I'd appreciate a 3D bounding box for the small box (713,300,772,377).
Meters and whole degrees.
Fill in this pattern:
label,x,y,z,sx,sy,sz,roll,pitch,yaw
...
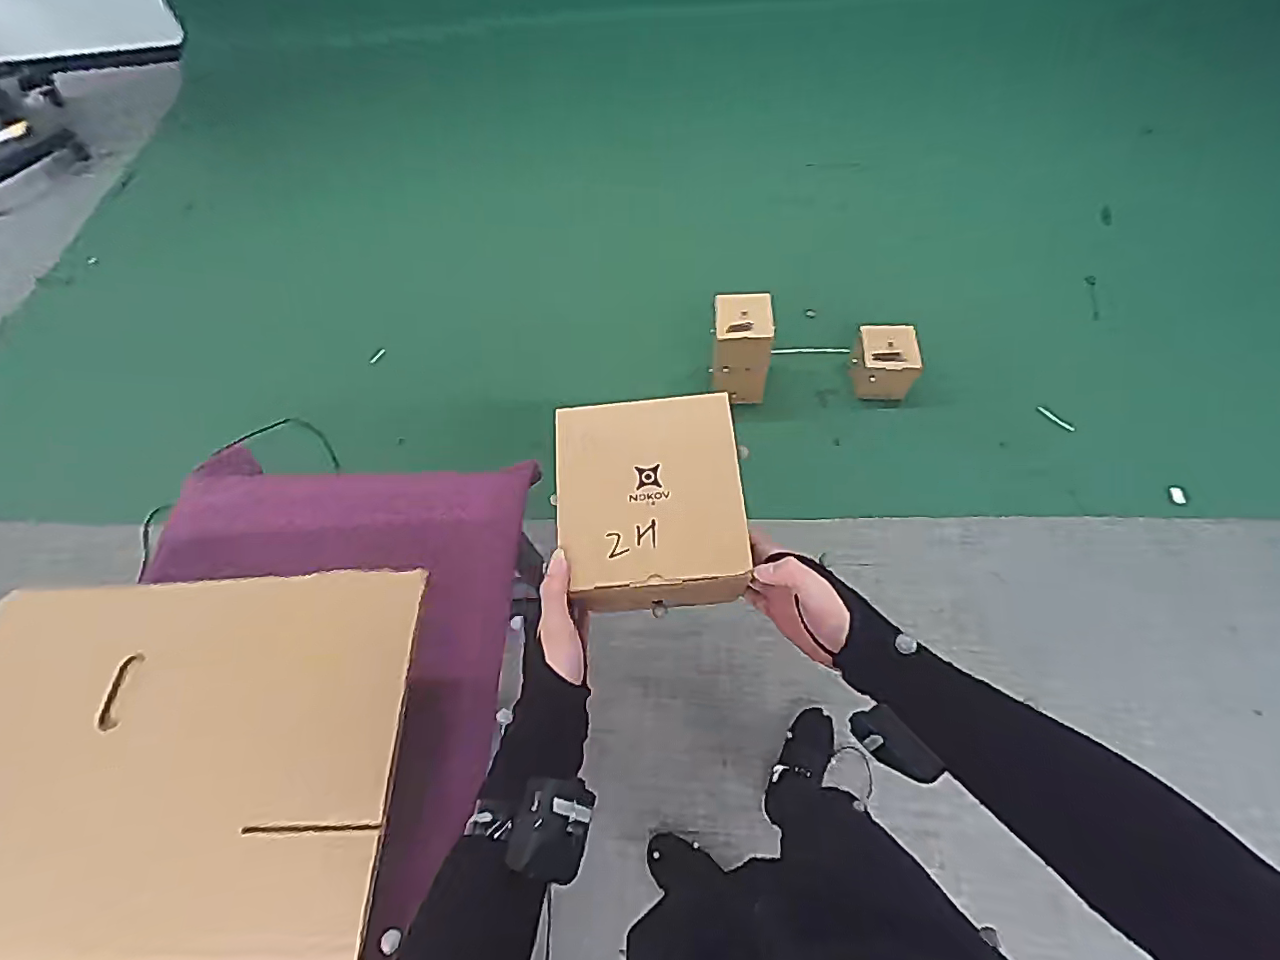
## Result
label,x,y,z,sx,sy,sz,roll,pitch,yaw
small box,0.316,-0.436,1.688,0.168,0.176,0.179,0,62,5

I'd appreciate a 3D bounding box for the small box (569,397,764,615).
label,x,y,z,sx,sy,sz,roll,pitch,yaw
small box,0.023,0.036,0.554,0.168,0.176,0.179,-5,70,3

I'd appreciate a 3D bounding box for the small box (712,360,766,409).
label,x,y,z,sx,sy,sz,roll,pitch,yaw
small box,0.329,-0.361,1.832,0.168,0.176,0.179,0,63,5
